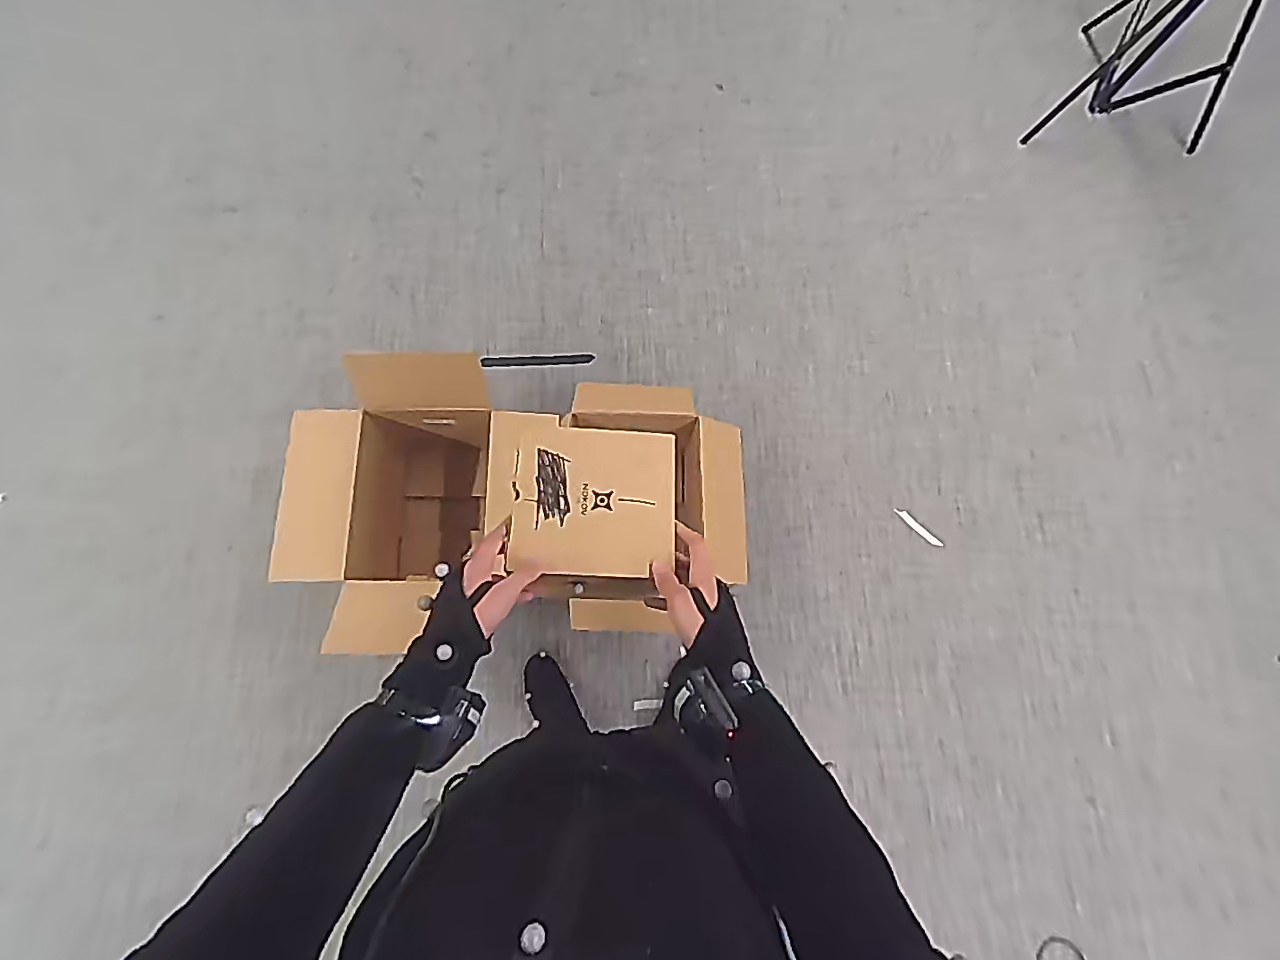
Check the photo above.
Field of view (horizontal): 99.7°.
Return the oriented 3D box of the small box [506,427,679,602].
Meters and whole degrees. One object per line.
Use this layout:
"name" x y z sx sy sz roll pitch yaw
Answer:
"small box" -0.053 0.050 0.649 0.179 0.176 0.168 4 70 -5
